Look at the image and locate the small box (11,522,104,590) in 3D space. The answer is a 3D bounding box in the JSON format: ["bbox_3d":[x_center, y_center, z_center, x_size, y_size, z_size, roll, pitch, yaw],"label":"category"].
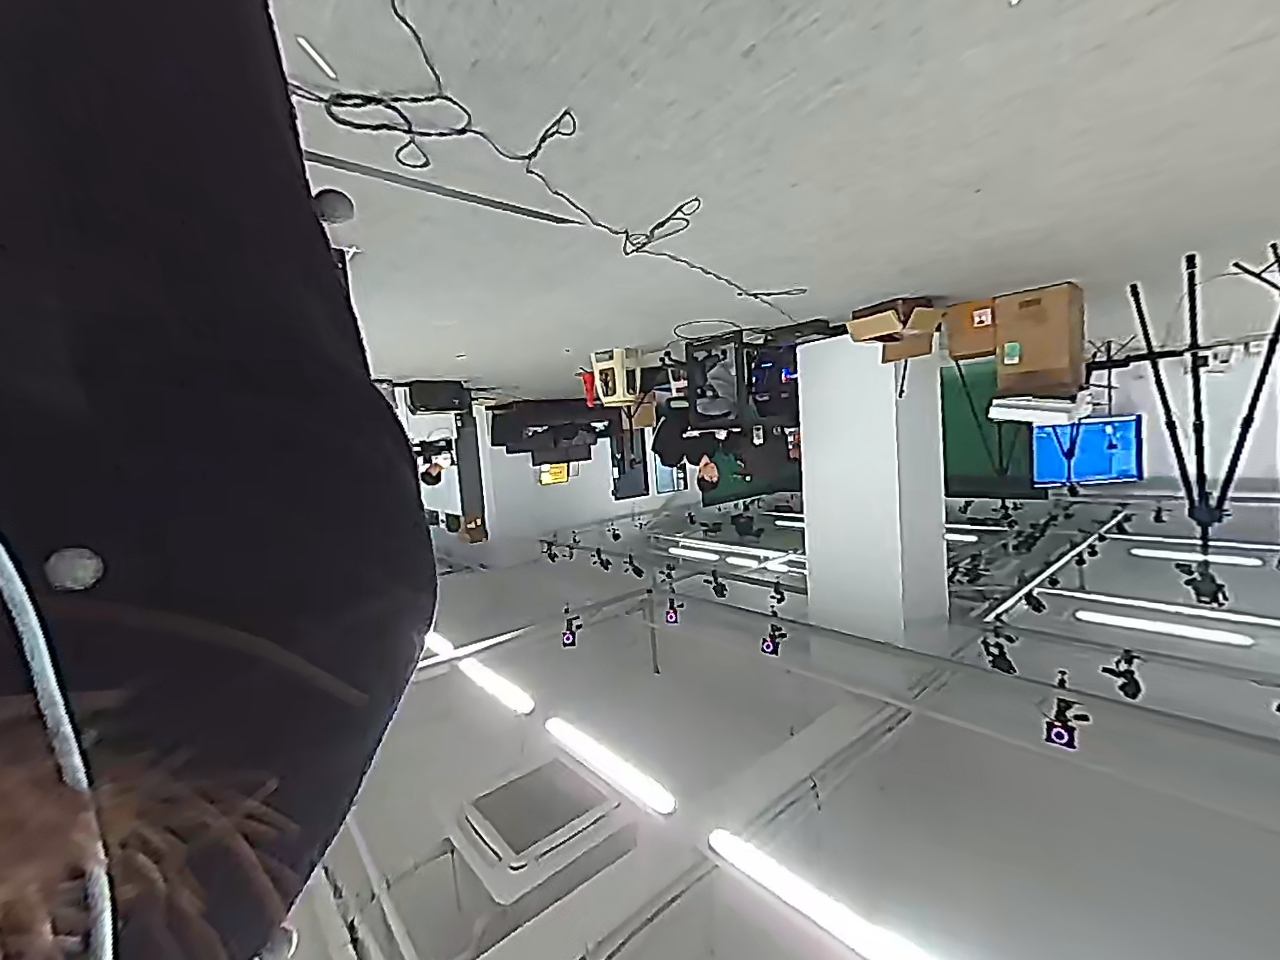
[{"bbox_3d":[-1.761,0.220,1.642,0.168,0.176,0.179,-10,-173,-41],"label":"small box"}]
